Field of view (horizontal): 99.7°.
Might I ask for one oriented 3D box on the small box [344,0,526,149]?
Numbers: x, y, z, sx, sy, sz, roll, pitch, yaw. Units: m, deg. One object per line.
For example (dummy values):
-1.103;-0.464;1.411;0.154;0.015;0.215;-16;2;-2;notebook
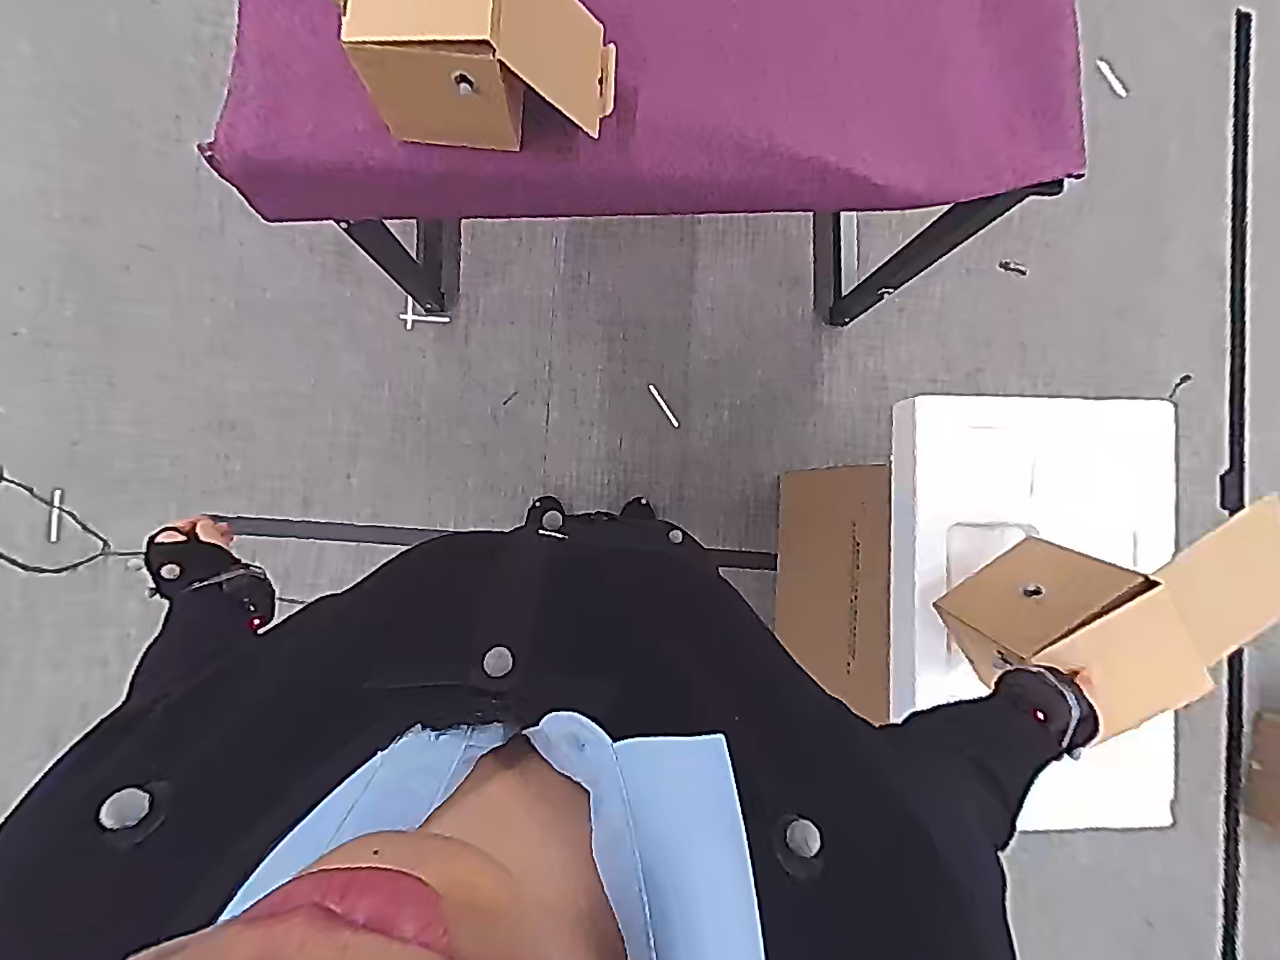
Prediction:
-0.248;-0.562;0.697;0.179;0.176;0.168;3;86;-3;small box
